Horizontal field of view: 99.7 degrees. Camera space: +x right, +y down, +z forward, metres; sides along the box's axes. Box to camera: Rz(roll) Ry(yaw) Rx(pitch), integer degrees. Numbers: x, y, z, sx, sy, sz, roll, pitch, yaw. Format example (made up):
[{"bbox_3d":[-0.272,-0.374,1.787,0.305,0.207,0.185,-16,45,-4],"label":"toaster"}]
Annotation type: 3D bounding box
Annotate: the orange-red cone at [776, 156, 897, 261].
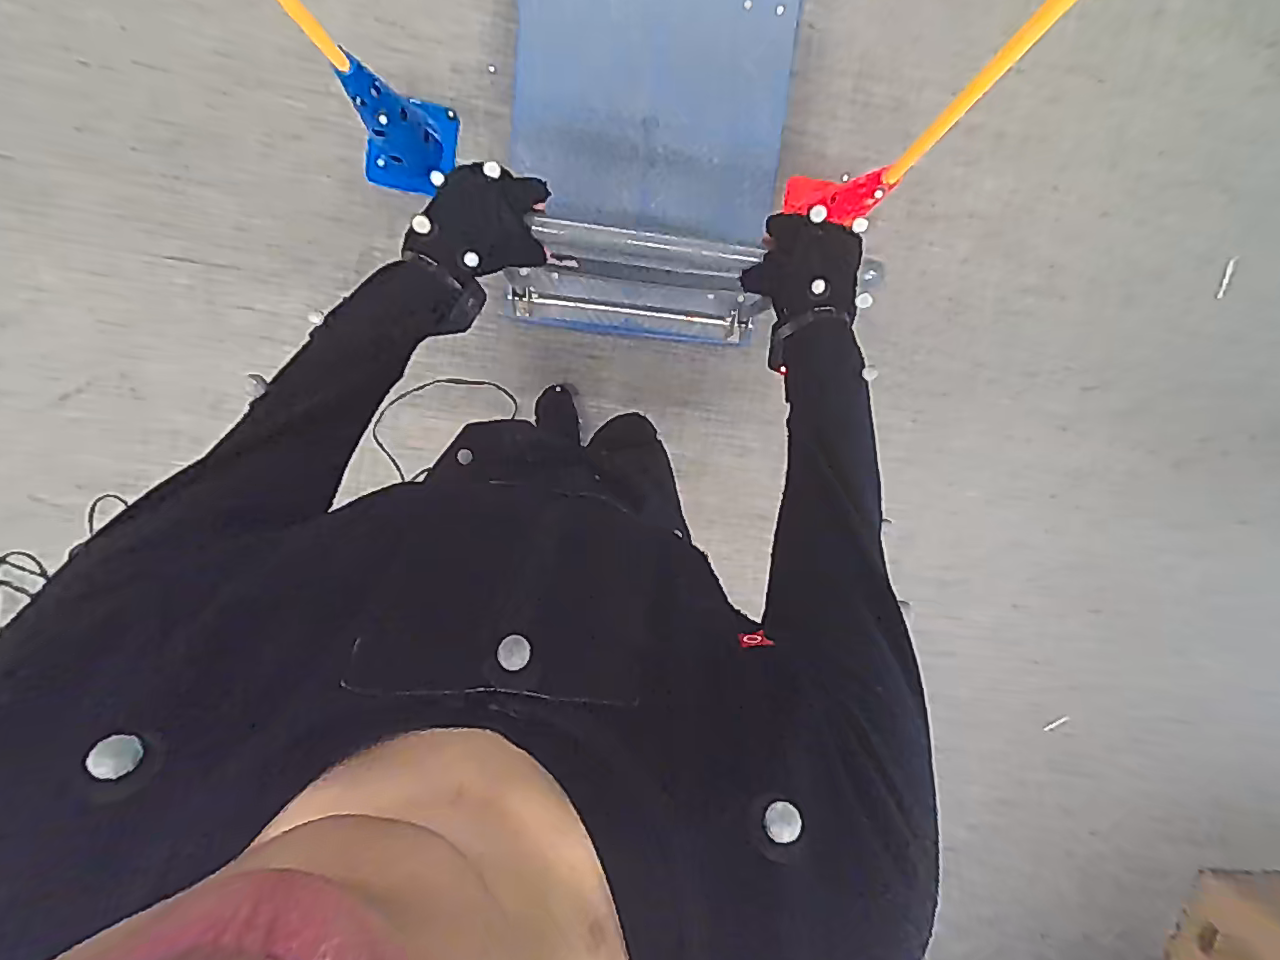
[{"bbox_3d":[0.468,-0.642,1.219,0.199,0.360,0.198,9,101,-5],"label":"orange-red cone"}]
